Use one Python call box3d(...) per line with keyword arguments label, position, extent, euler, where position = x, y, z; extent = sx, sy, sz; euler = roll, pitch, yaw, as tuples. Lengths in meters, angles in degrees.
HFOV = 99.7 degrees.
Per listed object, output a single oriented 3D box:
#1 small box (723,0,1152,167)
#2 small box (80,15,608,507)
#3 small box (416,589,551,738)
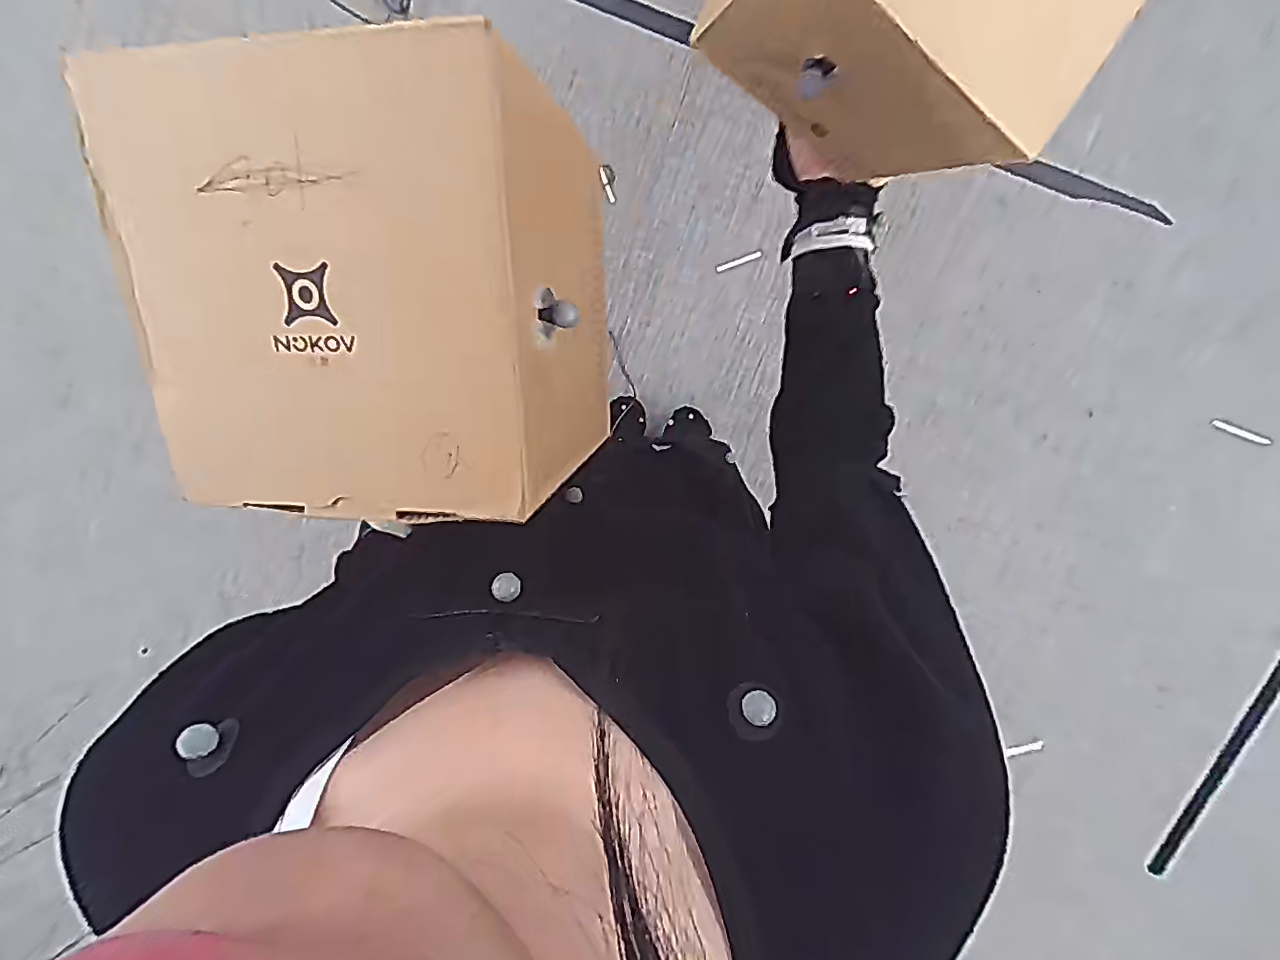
box3d(label="small box", position=(0.165, -0.303, 0.298), extent=(0.168, 0.176, 0.179), euler=(25, 108, -22))
box3d(label="small box", position=(-0.115, -0.095, 0.290), extent=(0.168, 0.176, 0.179), euler=(0, 106, 8))
box3d(label="small box", position=(-0.278, 0.329, 1.007), extent=(0.168, 0.176, 0.179), euler=(26, 99, -1))
